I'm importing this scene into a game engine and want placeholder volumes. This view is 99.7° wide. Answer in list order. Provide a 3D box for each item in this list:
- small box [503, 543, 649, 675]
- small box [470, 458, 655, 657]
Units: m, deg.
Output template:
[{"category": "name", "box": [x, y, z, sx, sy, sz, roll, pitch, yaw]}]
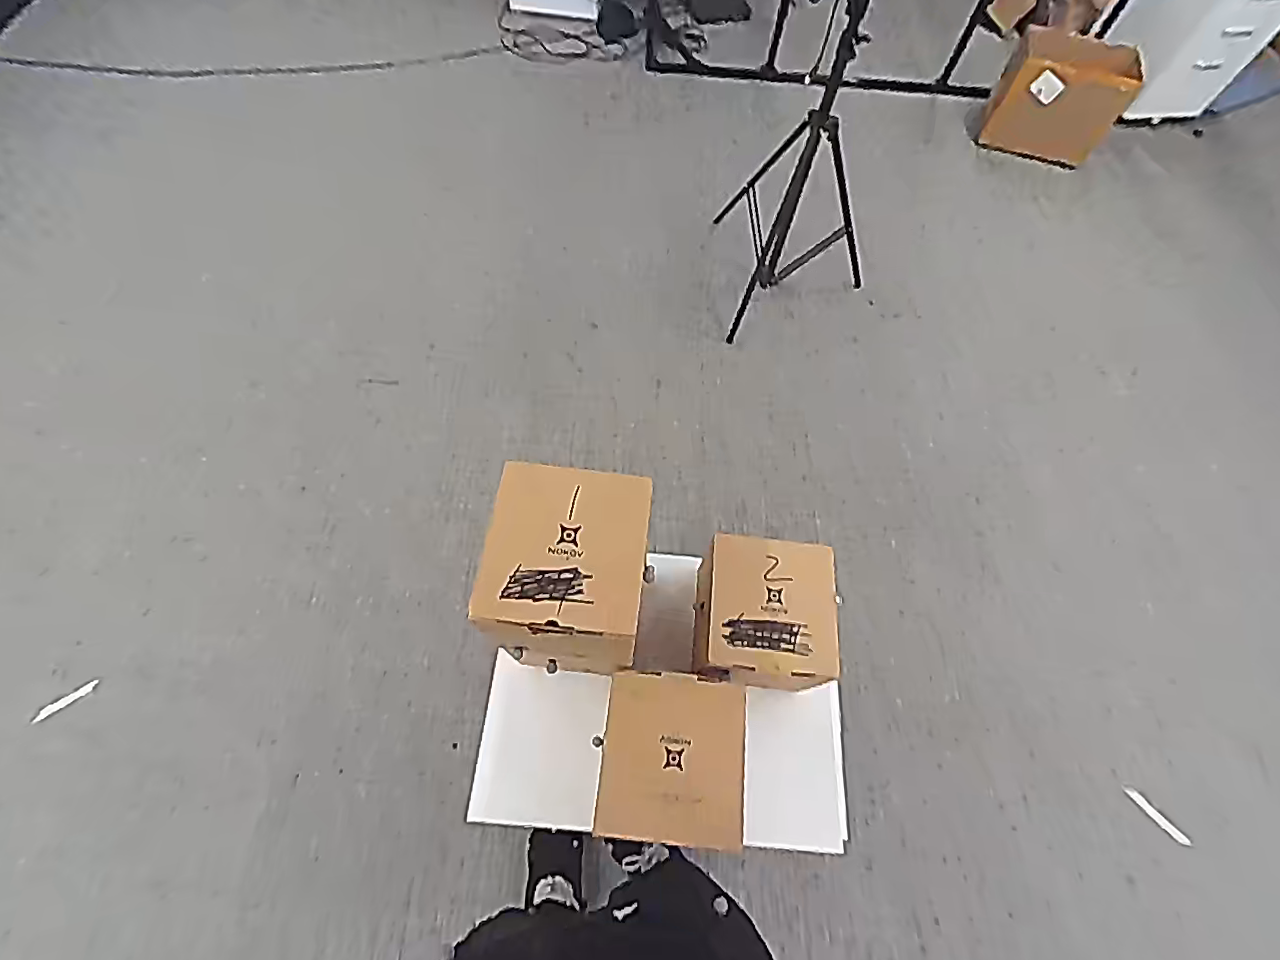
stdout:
[{"category": "small box", "box": [-0.081, 0.171, 0.769, 0.168, 0.176, 0.179, 8, 63, 1]}, {"category": "small box", "box": [-0.077, 0.097, 0.622, 0.168, 0.176, 0.179, 7, 63, 0]}]
